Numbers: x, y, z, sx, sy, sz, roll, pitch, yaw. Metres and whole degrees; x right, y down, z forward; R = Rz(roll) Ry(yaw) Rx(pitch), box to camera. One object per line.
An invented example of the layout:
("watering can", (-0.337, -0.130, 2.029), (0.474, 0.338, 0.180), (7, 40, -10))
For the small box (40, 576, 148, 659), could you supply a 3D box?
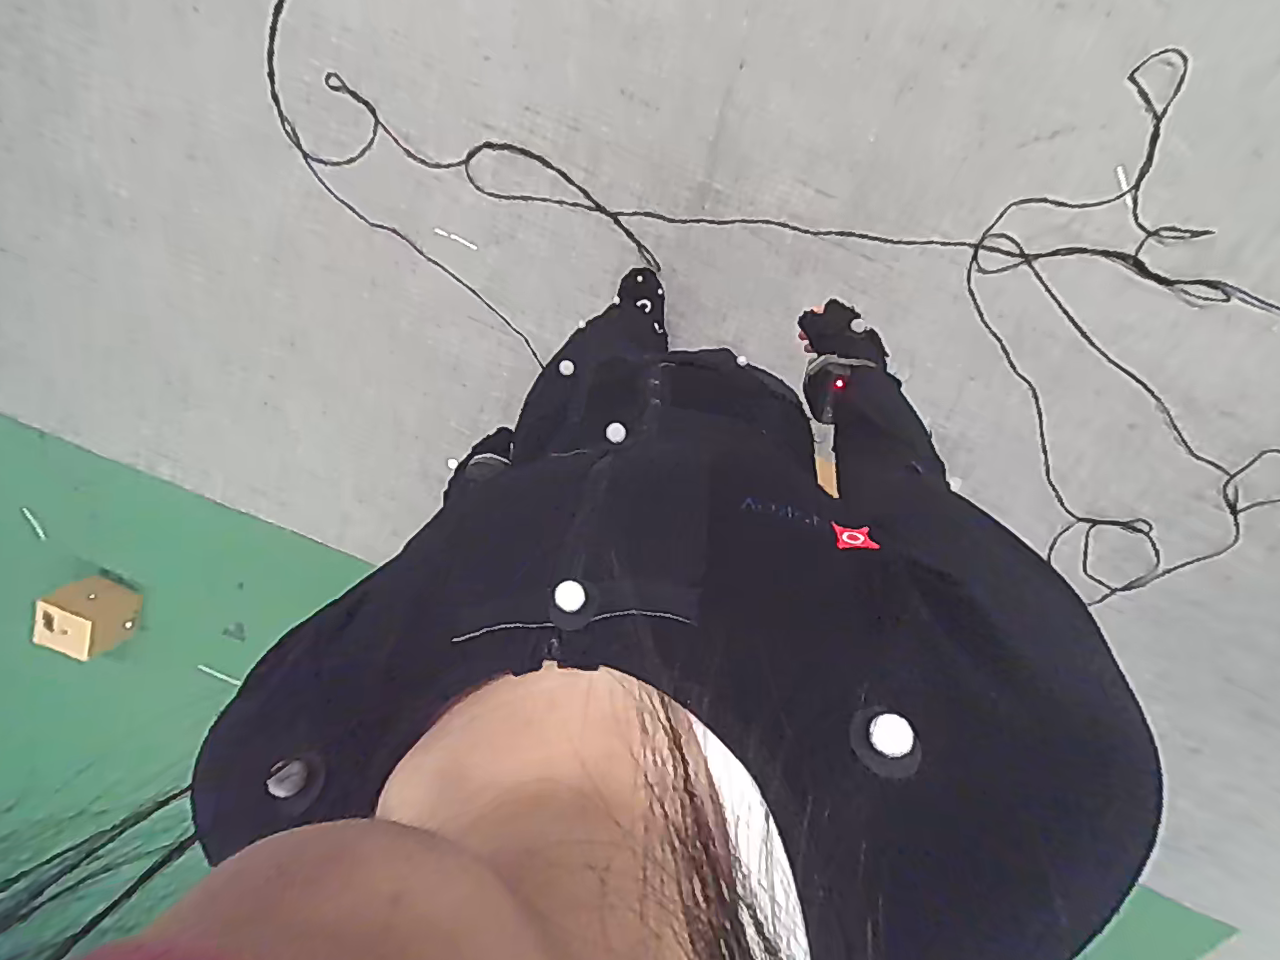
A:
("small box", (-1.751, 0.434, 1.739), (0.179, 0.176, 0.168), (24, 109, -3))
